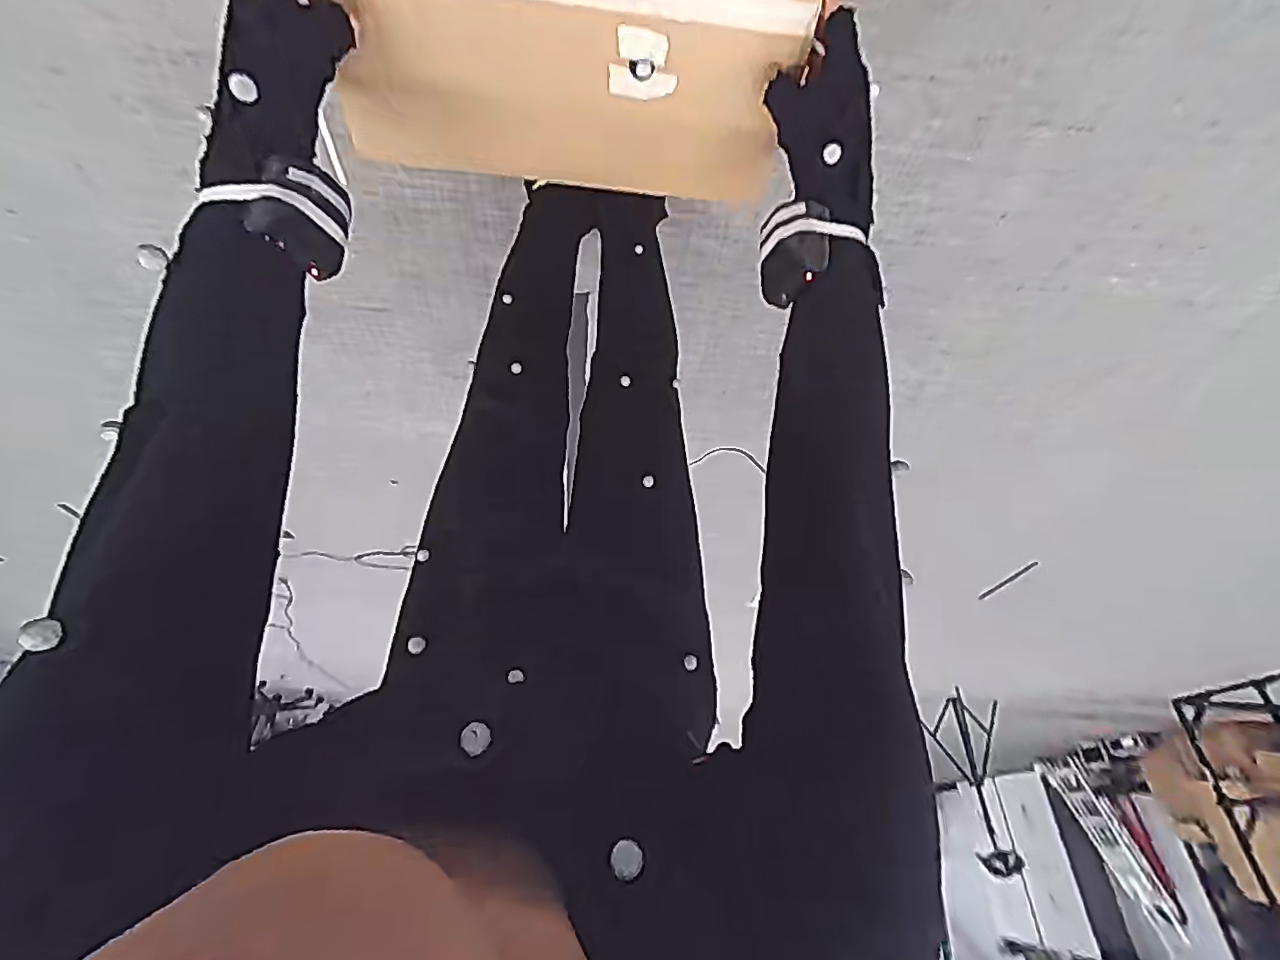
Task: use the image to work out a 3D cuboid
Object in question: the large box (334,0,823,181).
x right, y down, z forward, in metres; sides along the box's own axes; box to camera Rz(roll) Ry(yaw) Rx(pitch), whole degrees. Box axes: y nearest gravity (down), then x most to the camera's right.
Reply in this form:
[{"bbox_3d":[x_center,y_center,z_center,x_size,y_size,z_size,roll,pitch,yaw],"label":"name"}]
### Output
[{"bbox_3d":[-0.048,-0.526,0.502,0.408,0.320,0.320,3,147,-4],"label":"large box"}]
